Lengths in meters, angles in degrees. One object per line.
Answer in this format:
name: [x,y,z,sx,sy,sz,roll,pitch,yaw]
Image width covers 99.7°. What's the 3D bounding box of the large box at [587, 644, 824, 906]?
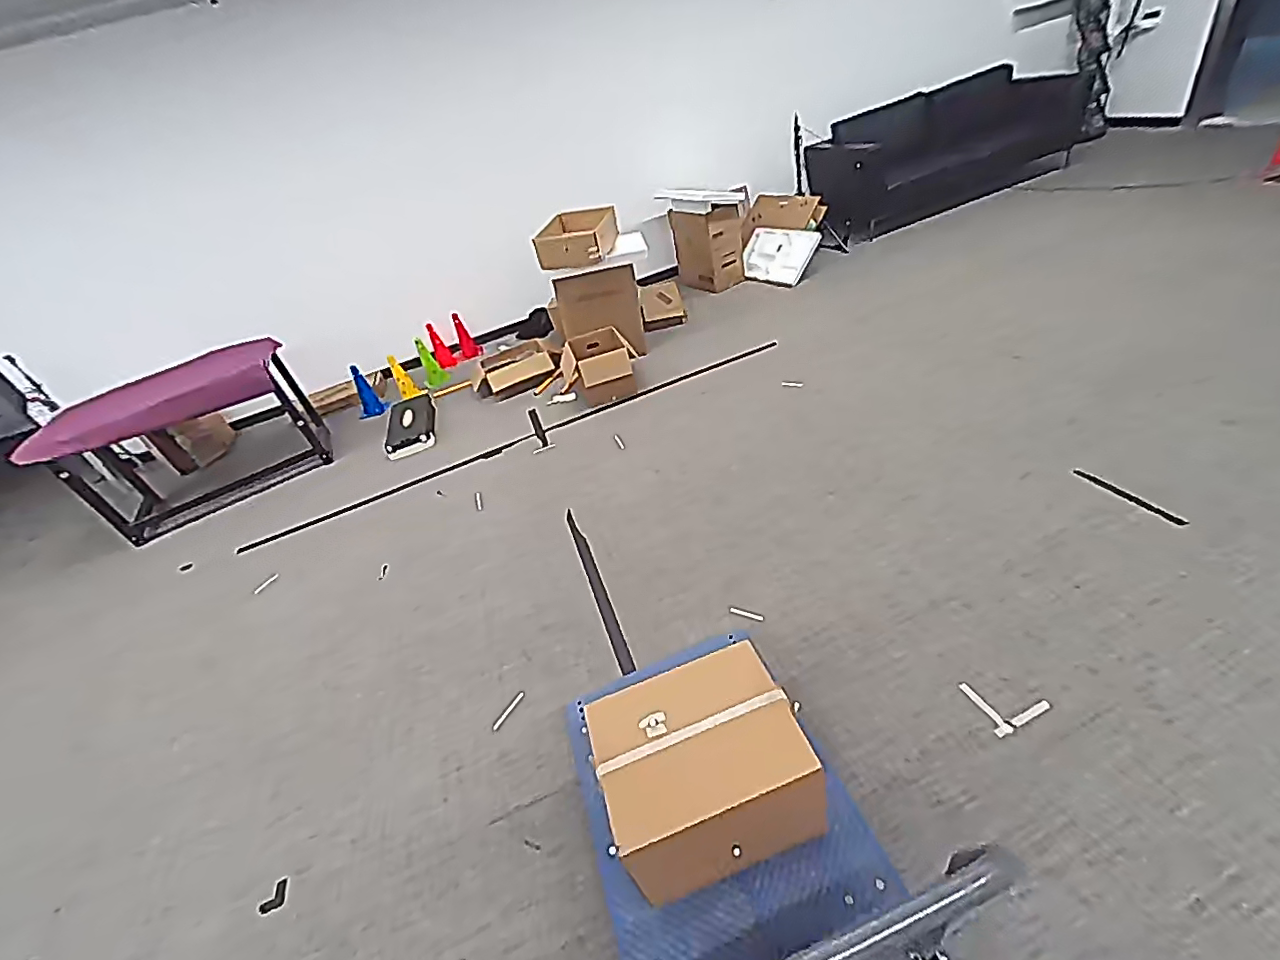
large box: [0.143,0.640,1.192,0.408,0.320,0.320,-21,35,-5]
